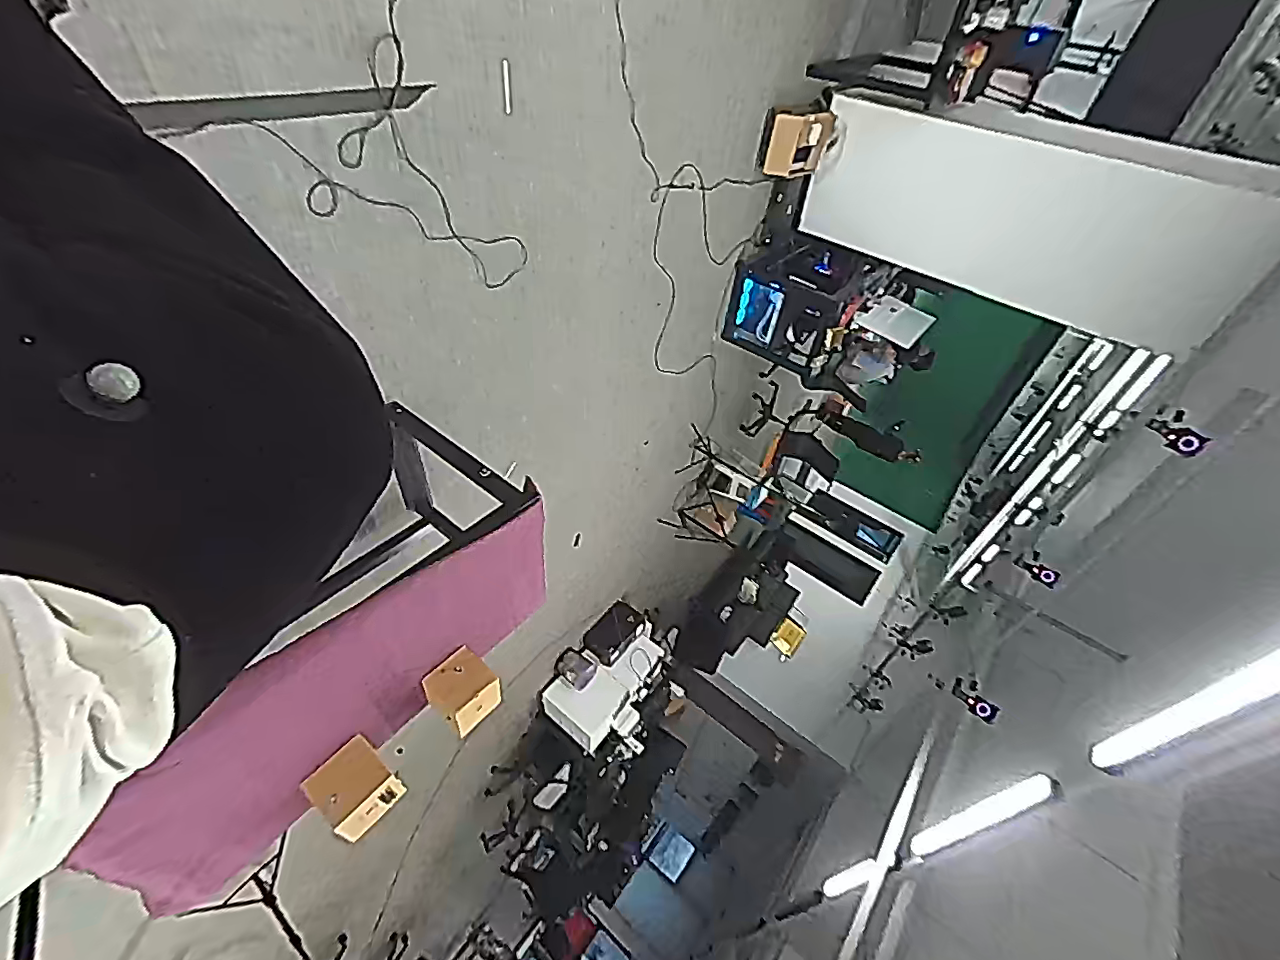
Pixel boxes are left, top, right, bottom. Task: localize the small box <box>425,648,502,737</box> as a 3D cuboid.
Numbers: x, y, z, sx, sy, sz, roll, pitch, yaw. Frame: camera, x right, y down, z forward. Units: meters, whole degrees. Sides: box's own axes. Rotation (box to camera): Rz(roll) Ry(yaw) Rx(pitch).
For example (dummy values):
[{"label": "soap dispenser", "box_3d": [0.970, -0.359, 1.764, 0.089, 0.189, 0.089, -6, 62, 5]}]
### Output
[{"label": "small box", "box_3d": [-0.568, 0.681, 1.748, 0.168, 0.176, 0.179, -38, 149, -38]}]
